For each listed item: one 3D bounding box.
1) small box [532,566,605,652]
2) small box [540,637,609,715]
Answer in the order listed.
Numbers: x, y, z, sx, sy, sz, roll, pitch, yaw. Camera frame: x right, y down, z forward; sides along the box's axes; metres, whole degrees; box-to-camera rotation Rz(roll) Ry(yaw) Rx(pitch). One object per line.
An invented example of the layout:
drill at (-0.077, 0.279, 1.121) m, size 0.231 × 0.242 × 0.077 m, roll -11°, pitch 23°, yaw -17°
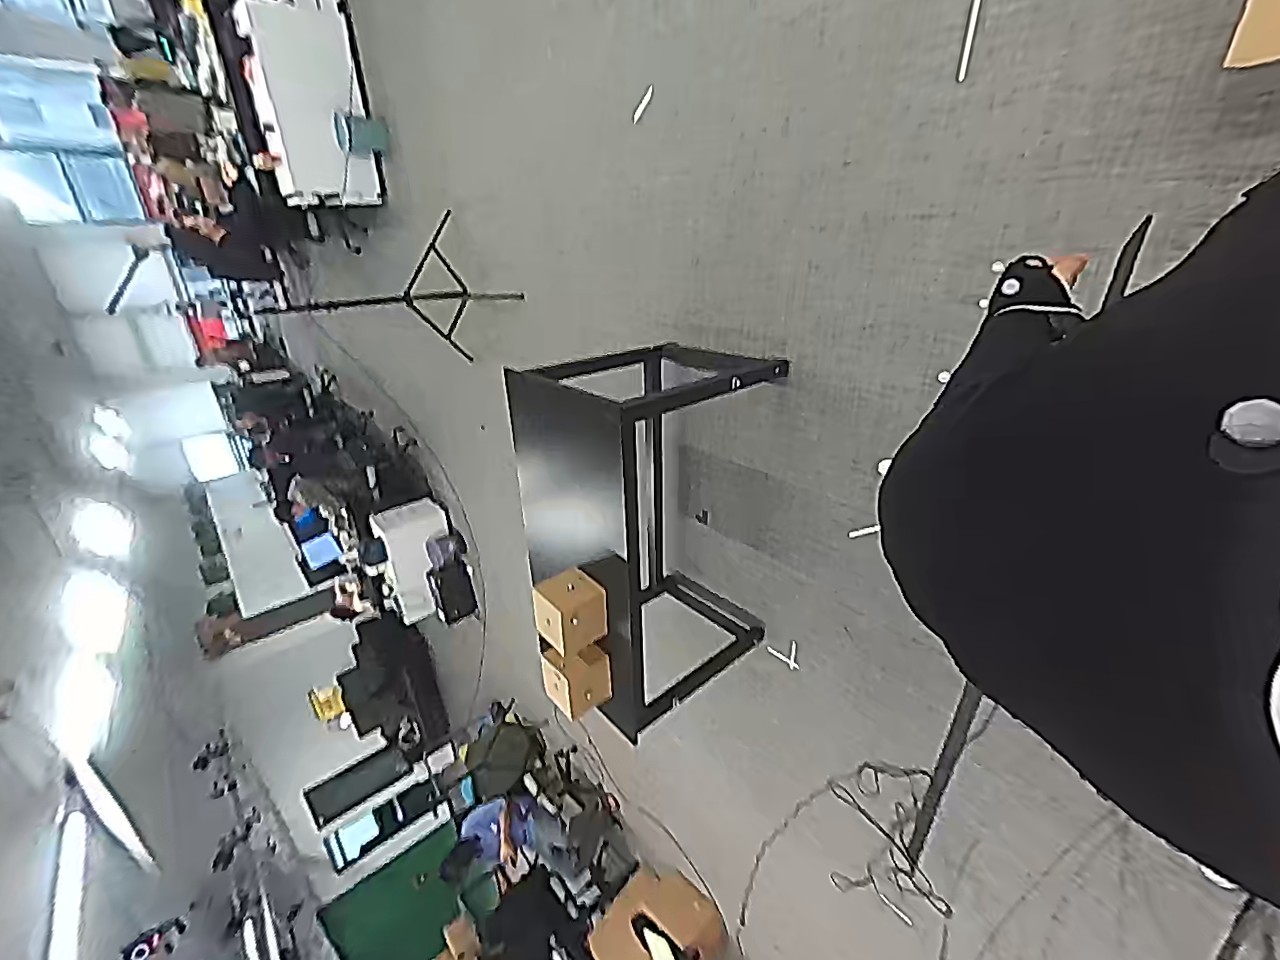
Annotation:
small box at (-0.222, 0.400, 1.716) m, size 0.168 × 0.176 × 0.179 m, roll 28°, pitch 128°, yaw 43°
small box at (-0.216, 0.646, 1.834) m, size 0.168 × 0.176 × 0.179 m, roll 24°, pitch 125°, yaw 45°
